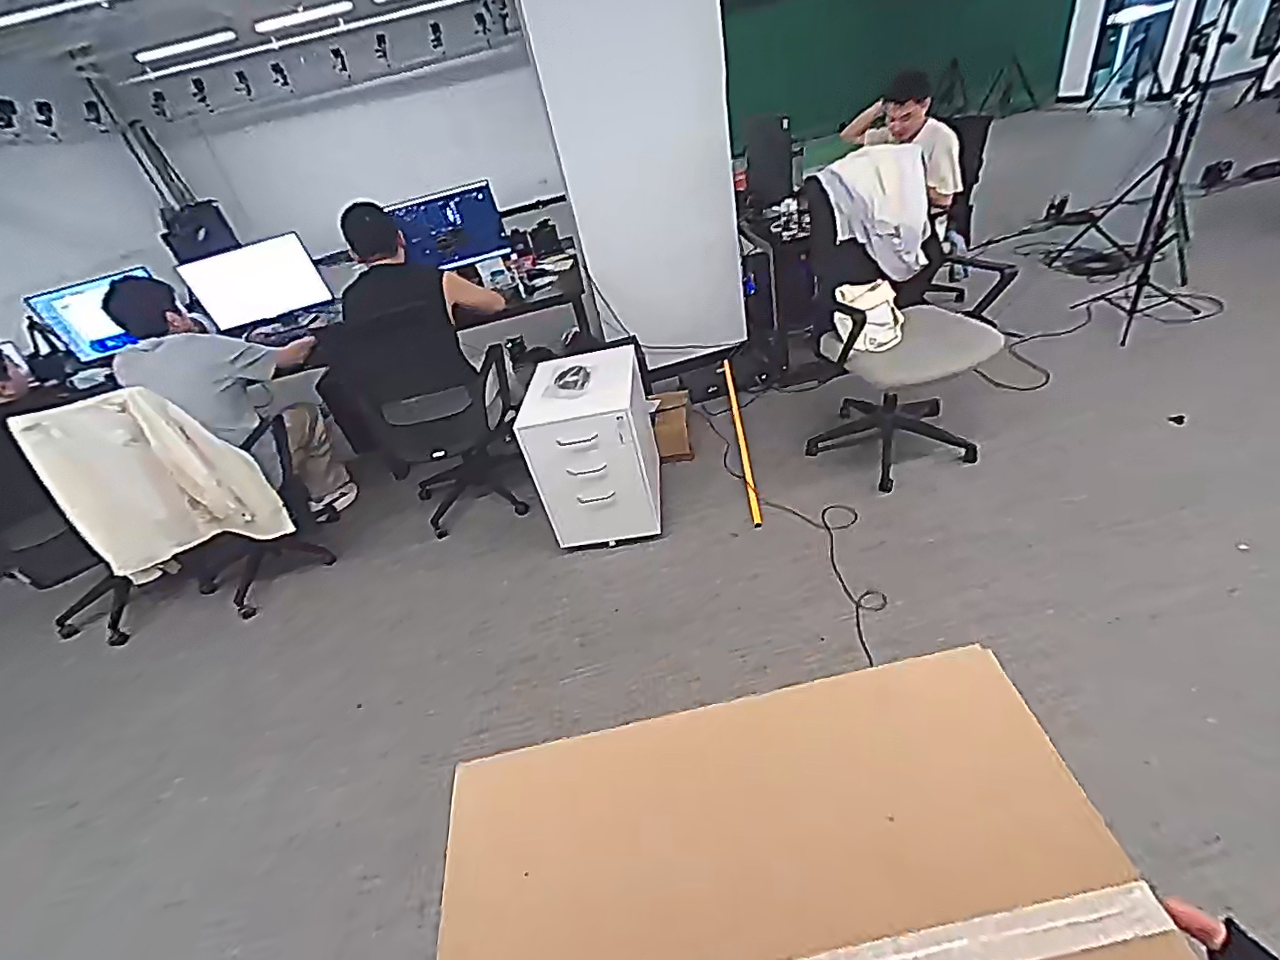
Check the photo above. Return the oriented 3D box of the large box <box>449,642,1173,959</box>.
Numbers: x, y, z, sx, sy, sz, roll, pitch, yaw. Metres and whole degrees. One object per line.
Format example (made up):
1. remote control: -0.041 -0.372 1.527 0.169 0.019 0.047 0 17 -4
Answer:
1. large box: 0.109 0.375 0.411 0.408 0.320 0.320 -14 44 2
